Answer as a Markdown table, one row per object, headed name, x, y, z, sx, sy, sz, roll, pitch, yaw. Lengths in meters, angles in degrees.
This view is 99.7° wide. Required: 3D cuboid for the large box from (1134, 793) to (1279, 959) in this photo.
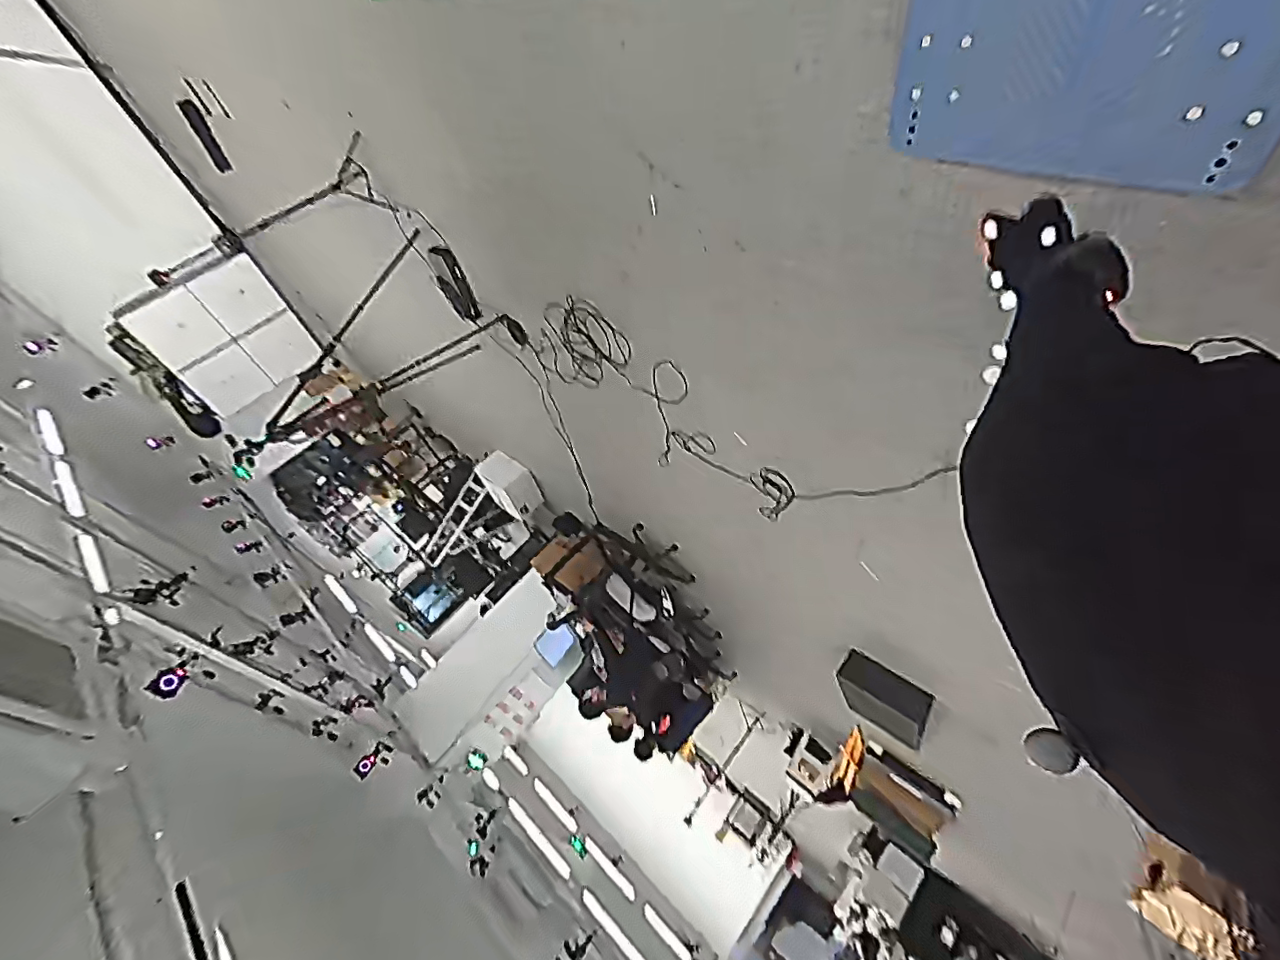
| name | x | y | z | sx | sy | sz | roll | pitch | yaw |
| --- | --- | --- | --- | --- | --- | --- | --- | --- | --- |
| large box | 1.760 | 1.200 | 1.543 | 0.408 | 0.320 | 0.320 | 29 | 149 | 33 |
